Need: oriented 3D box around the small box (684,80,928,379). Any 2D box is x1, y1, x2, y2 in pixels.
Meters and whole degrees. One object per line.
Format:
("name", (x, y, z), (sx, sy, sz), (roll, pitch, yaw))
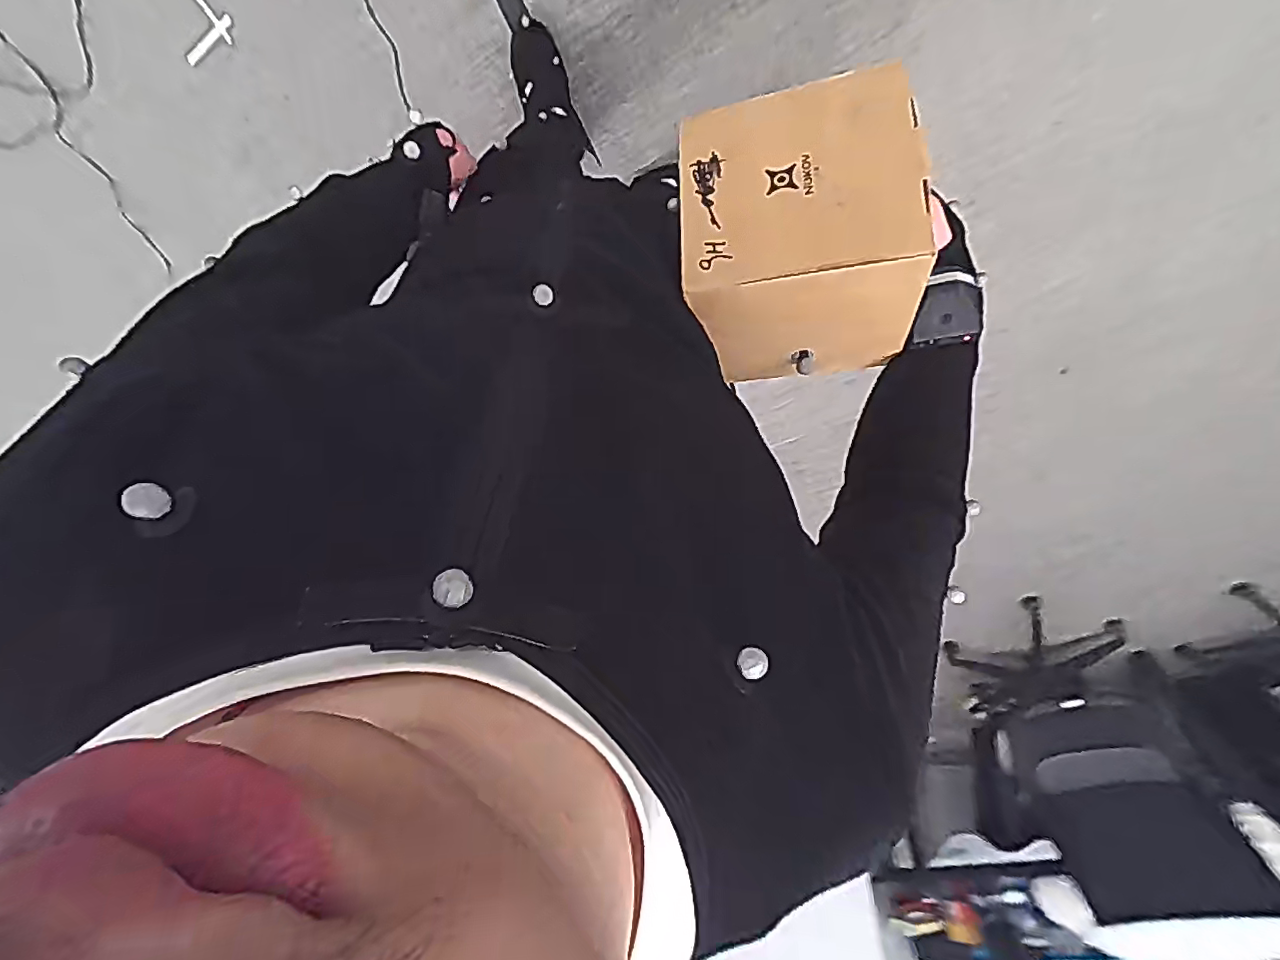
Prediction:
("small box", (0.142, -0.209, 0.497), (0.179, 0.168, 0.176), (-5, 164, 16))
